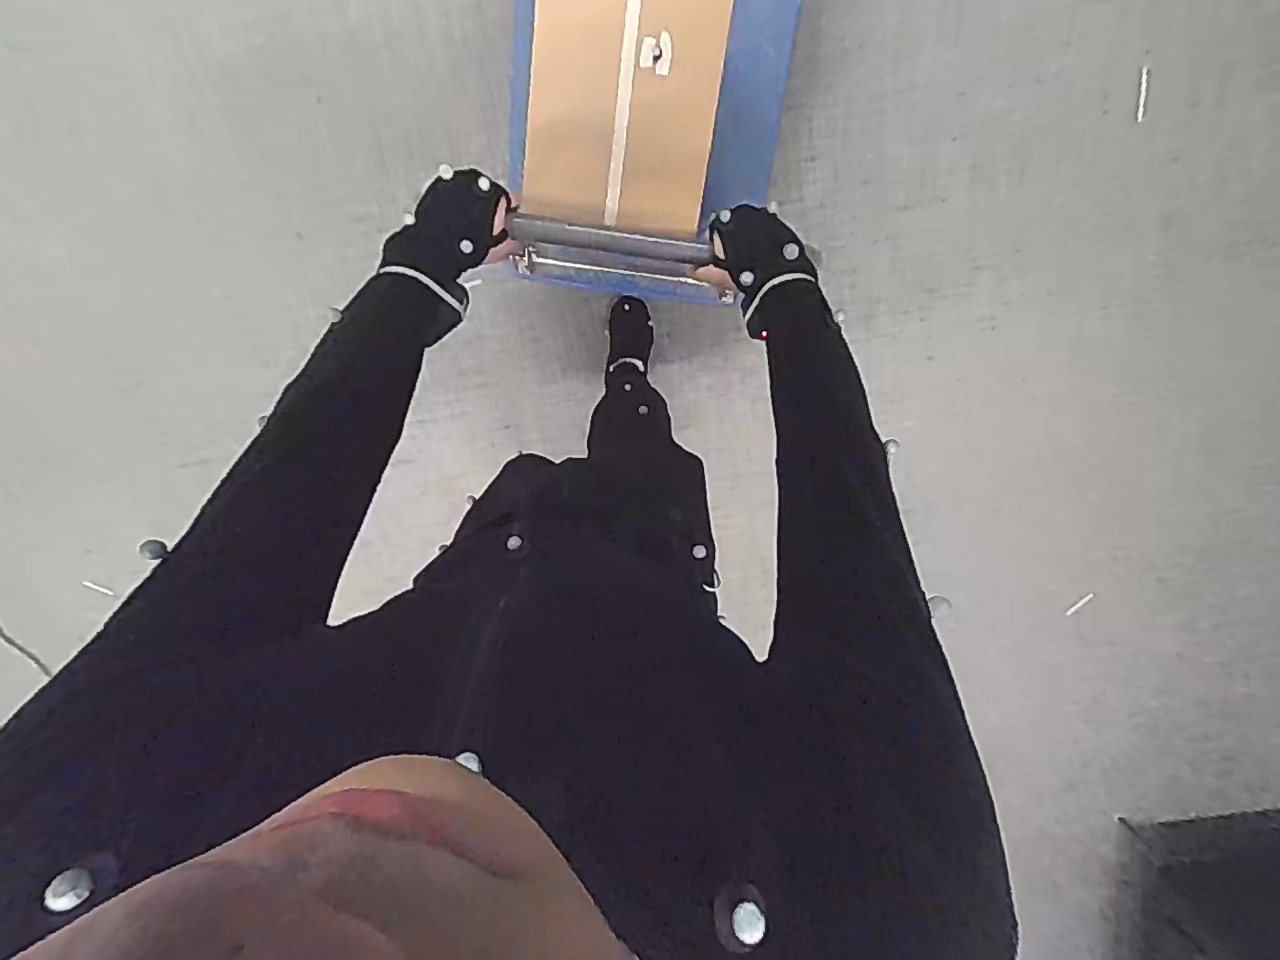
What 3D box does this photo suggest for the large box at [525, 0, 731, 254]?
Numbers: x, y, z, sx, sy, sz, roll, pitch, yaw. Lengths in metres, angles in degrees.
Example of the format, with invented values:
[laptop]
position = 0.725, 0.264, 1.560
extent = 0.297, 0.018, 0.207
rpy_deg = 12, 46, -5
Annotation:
[large box]
position = -0.025, -0.681, 1.044
extent = 0.320, 0.320, 0.408
rpy_deg = 8, 107, -3
